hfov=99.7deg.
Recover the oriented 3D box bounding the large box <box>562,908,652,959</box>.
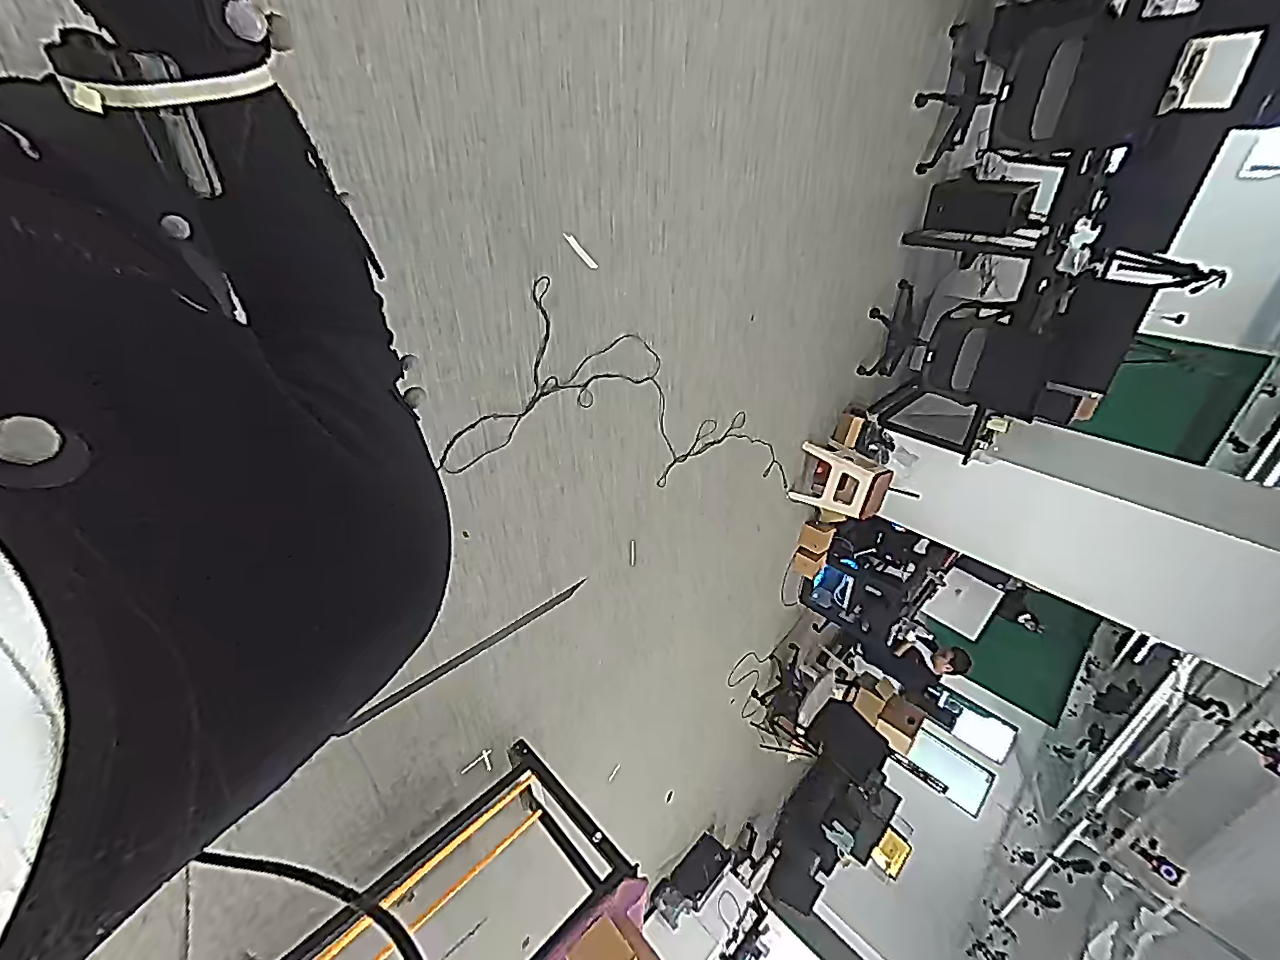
[{"bbox_3d":[-0.108,1.912,1.997,0.320,0.320,0.408,-27,130,-35],"label":"large box"}]
